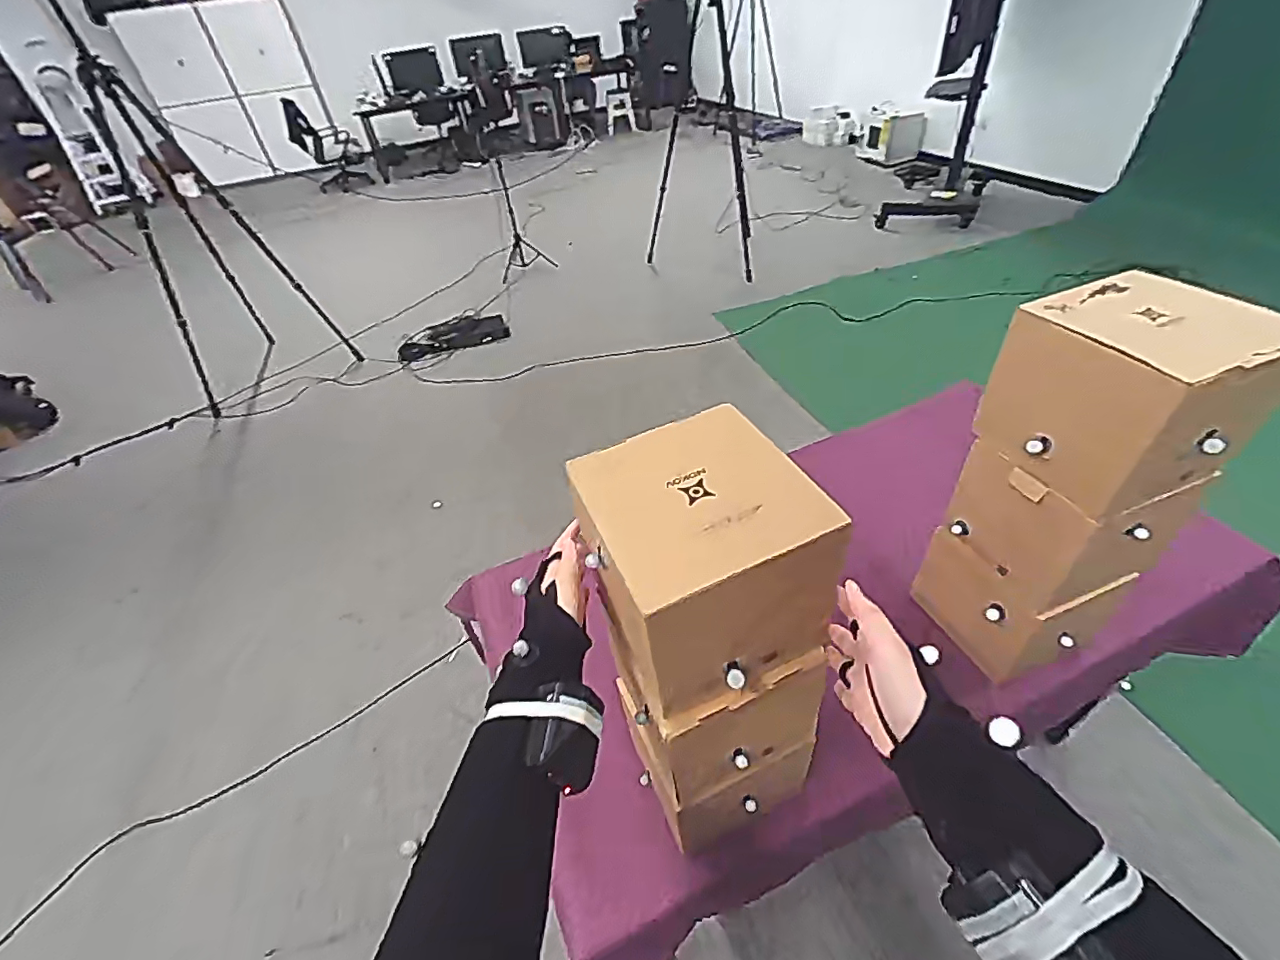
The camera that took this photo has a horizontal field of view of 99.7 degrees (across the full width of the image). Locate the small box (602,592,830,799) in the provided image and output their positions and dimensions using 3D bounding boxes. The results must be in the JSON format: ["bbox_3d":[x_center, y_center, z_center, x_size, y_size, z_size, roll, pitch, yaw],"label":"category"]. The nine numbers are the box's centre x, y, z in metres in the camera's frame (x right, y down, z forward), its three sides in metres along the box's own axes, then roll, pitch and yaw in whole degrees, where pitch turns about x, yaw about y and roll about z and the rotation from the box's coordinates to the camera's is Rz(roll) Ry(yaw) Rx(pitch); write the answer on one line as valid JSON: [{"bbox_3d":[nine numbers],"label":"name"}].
[{"bbox_3d":[0.072,0.198,0.579,0.168,0.176,0.179,-20,44,-13],"label":"small box"}]

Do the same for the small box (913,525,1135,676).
[{"bbox_3d":[0.541,0.161,0.792,0.168,0.176,0.179,-18,43,-12],"label":"small box"}]

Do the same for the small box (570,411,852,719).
[{"bbox_3d":[0.052,0.071,0.478,0.168,0.176,0.179,-21,44,-12],"label":"small box"}]

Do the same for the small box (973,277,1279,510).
[{"bbox_3d":[0.509,-0.089,0.580,0.168,0.176,0.179,-18,44,-11],"label":"small box"}]

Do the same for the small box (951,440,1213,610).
[{"bbox_3d":[0.530,0.036,0.685,0.179,0.176,0.168,-17,43,-11],"label":"small box"}]
